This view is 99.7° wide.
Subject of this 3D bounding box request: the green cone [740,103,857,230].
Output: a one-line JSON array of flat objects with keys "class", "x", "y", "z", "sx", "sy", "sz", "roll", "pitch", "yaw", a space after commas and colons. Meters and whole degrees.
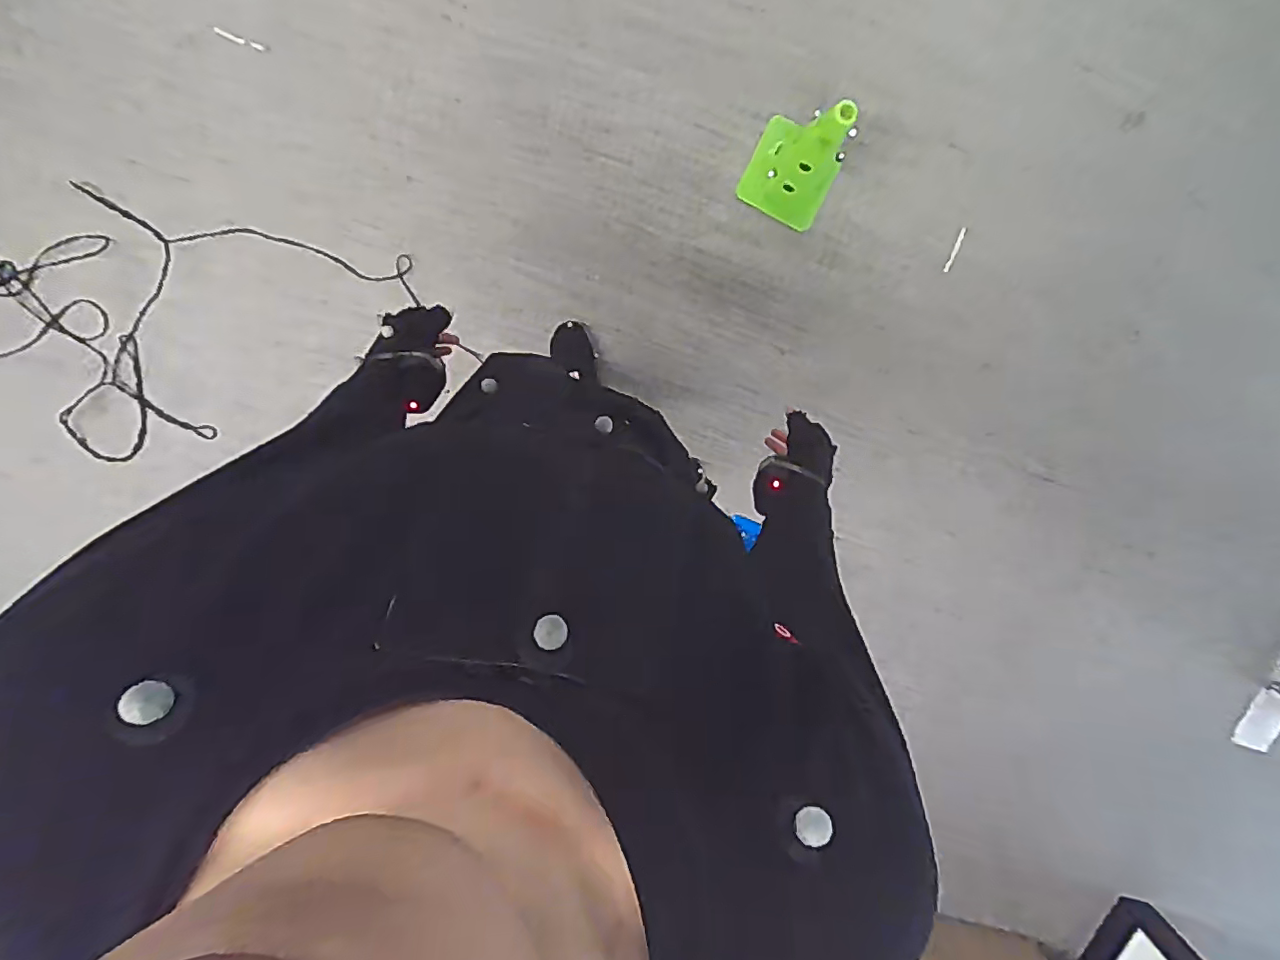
[{"class": "green cone", "x": 0.364, "y": -0.693, "z": 1.130, "sx": 0.200, "sy": 0.368, "sz": 0.202, "roll": 24, "pitch": 102, "yaw": -5}]
